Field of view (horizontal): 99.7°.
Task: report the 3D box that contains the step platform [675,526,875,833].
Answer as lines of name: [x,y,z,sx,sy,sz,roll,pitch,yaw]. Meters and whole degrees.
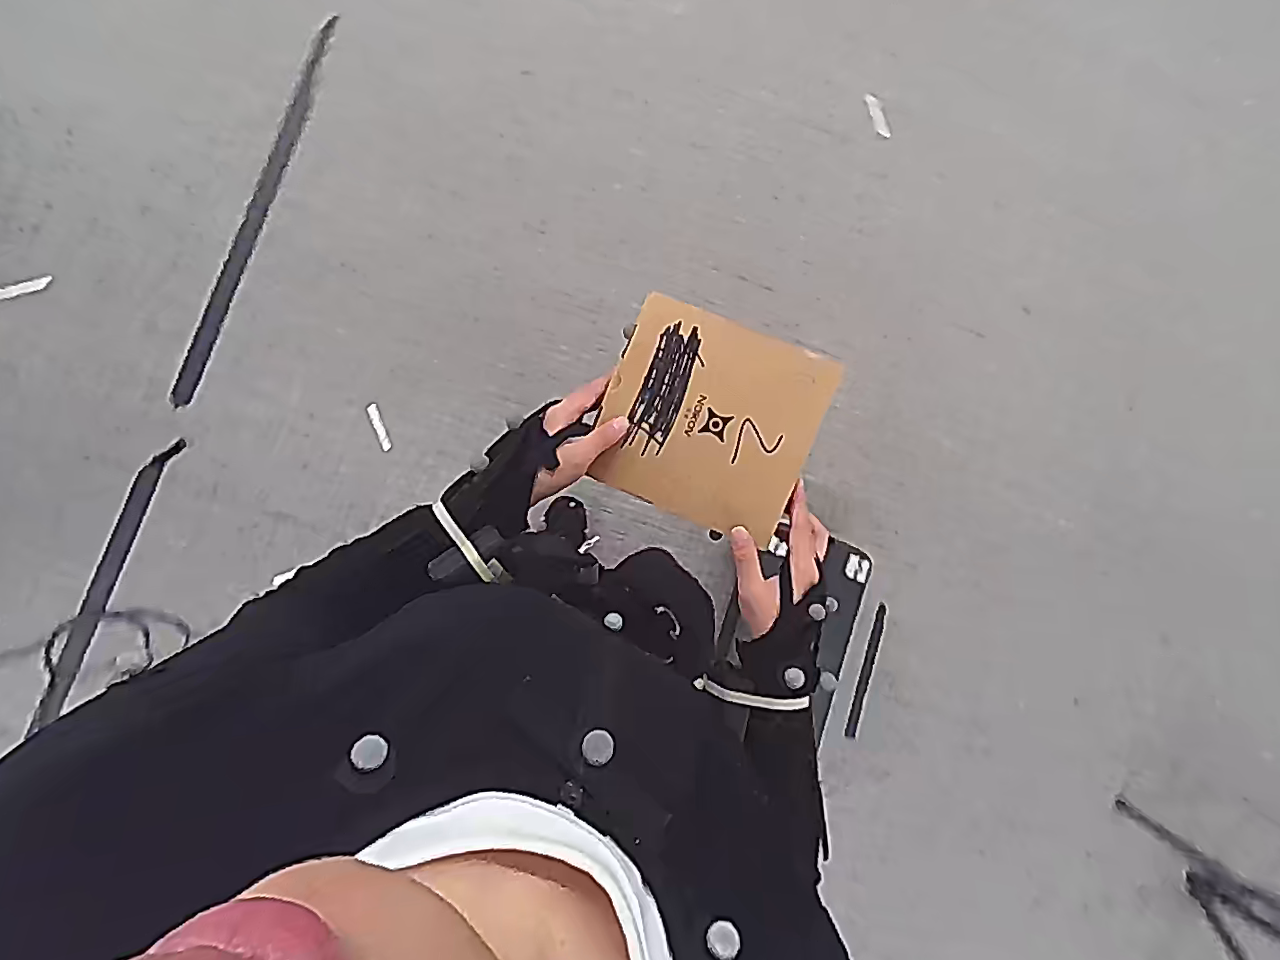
step platform: [0.325,0.464,1.313,0.286,0.204,0.684,19,85,-6]
